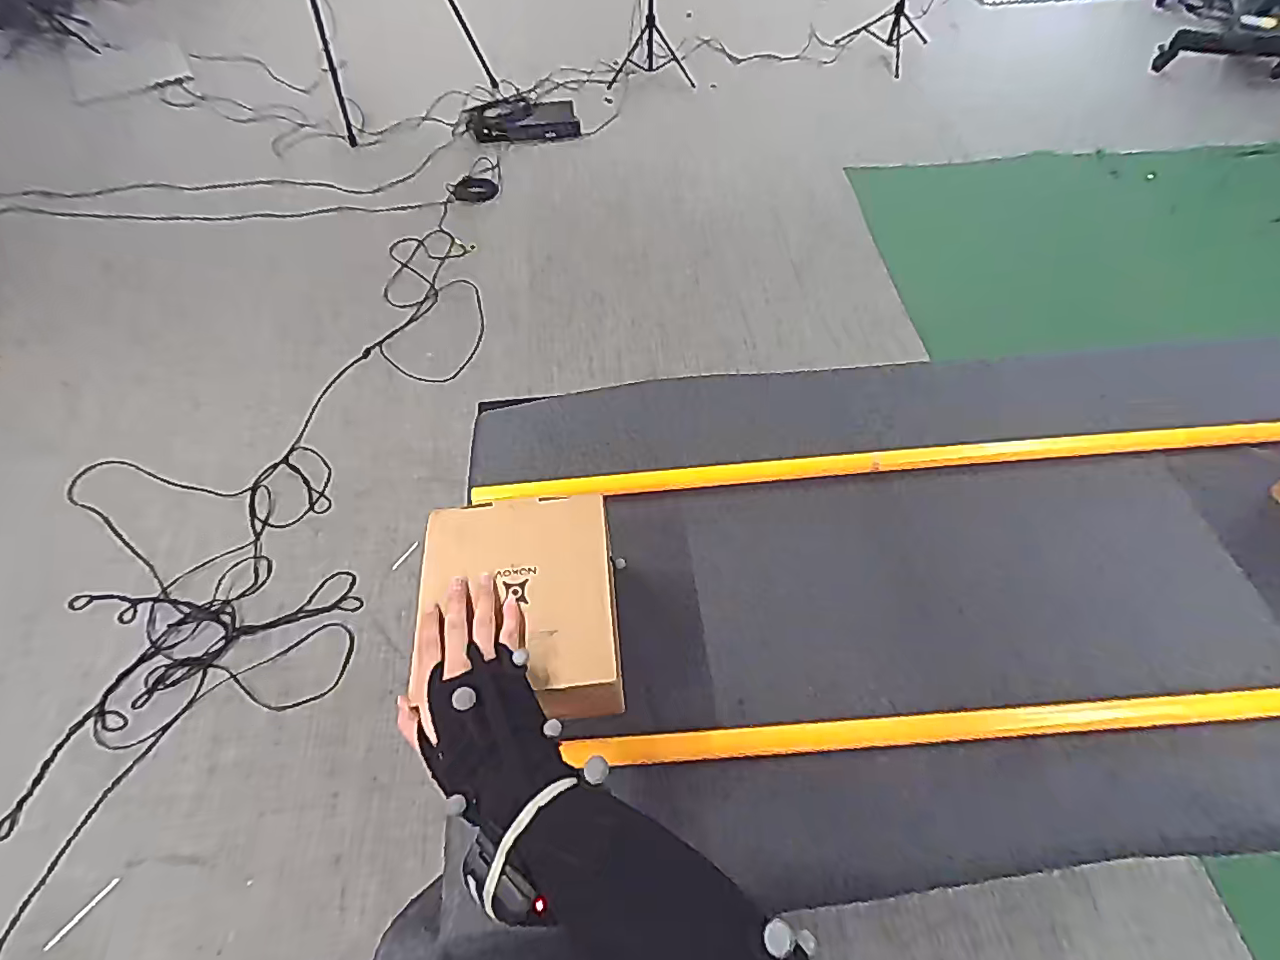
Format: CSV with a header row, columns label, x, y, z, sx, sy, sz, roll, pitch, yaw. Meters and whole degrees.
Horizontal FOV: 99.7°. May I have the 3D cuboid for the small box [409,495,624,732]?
label,x,y,z,sx,sy,sz,roll,pitch,yaw
small box,-0.106,0.136,0.533,0.168,0.176,0.179,-6,59,-2
